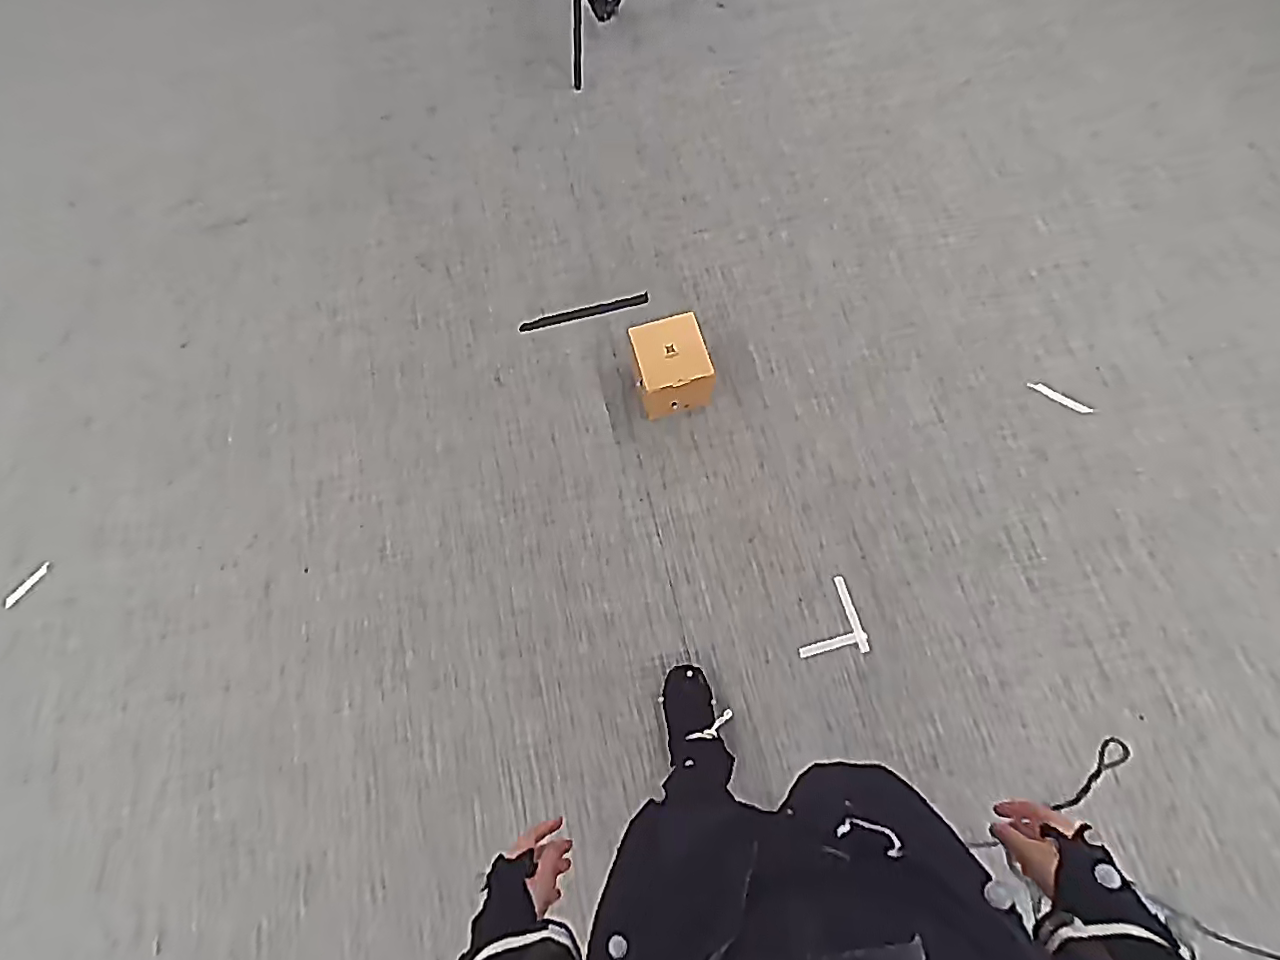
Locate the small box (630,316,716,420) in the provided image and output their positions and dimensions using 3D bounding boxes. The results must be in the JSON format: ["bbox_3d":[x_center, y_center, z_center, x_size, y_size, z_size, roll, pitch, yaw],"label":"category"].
[{"bbox_3d":[0.076,-0.273,1.344,0.168,0.176,0.179,-16,74,-3],"label":"small box"}]
